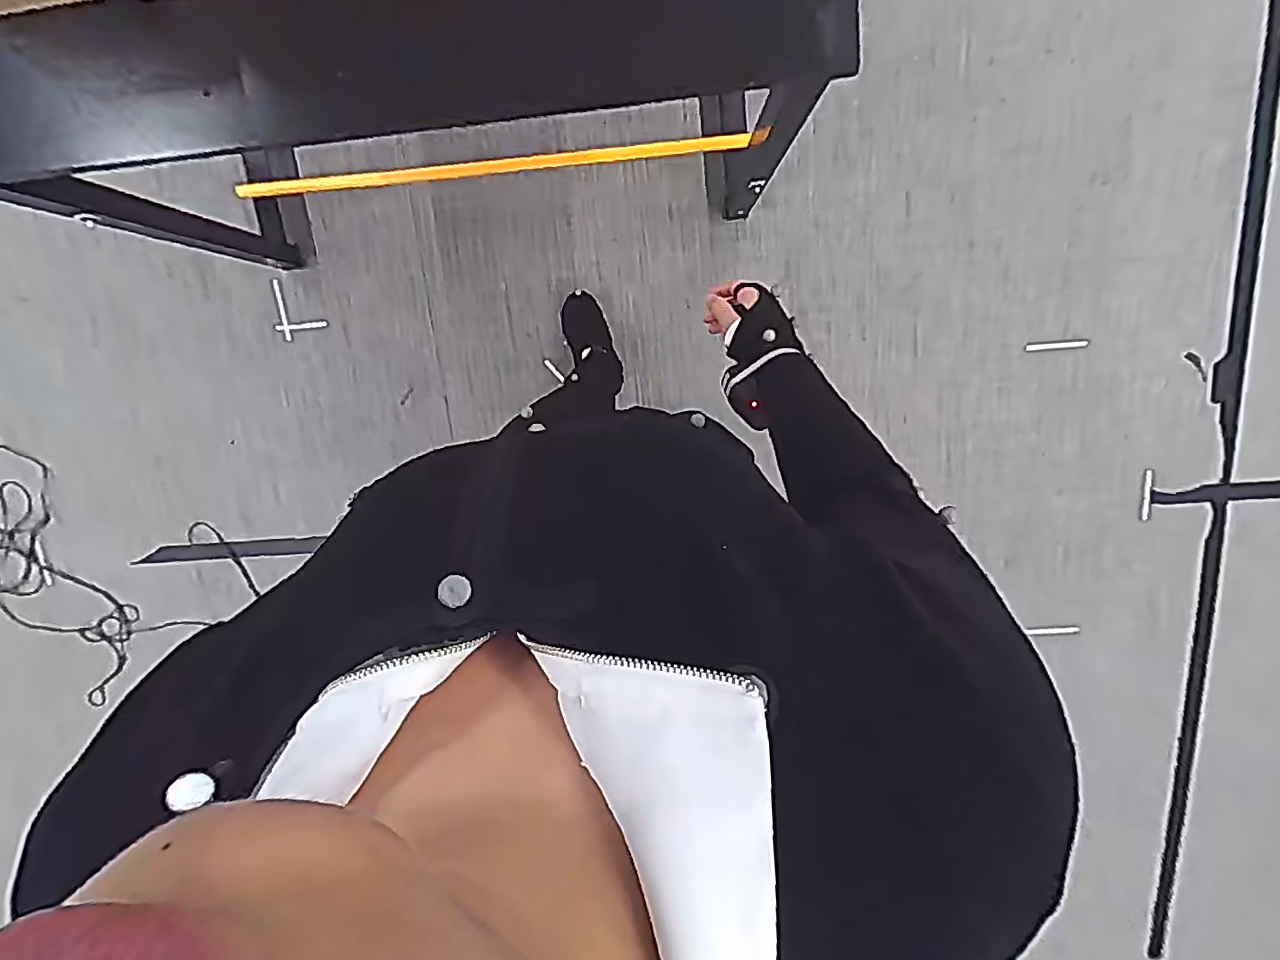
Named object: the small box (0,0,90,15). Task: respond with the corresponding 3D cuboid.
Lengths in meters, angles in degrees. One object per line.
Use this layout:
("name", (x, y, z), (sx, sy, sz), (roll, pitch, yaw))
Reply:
("small box", (-0.719, -0.617, 0.546), (0.179, 0.176, 0.168), (-7, 102, 2))
